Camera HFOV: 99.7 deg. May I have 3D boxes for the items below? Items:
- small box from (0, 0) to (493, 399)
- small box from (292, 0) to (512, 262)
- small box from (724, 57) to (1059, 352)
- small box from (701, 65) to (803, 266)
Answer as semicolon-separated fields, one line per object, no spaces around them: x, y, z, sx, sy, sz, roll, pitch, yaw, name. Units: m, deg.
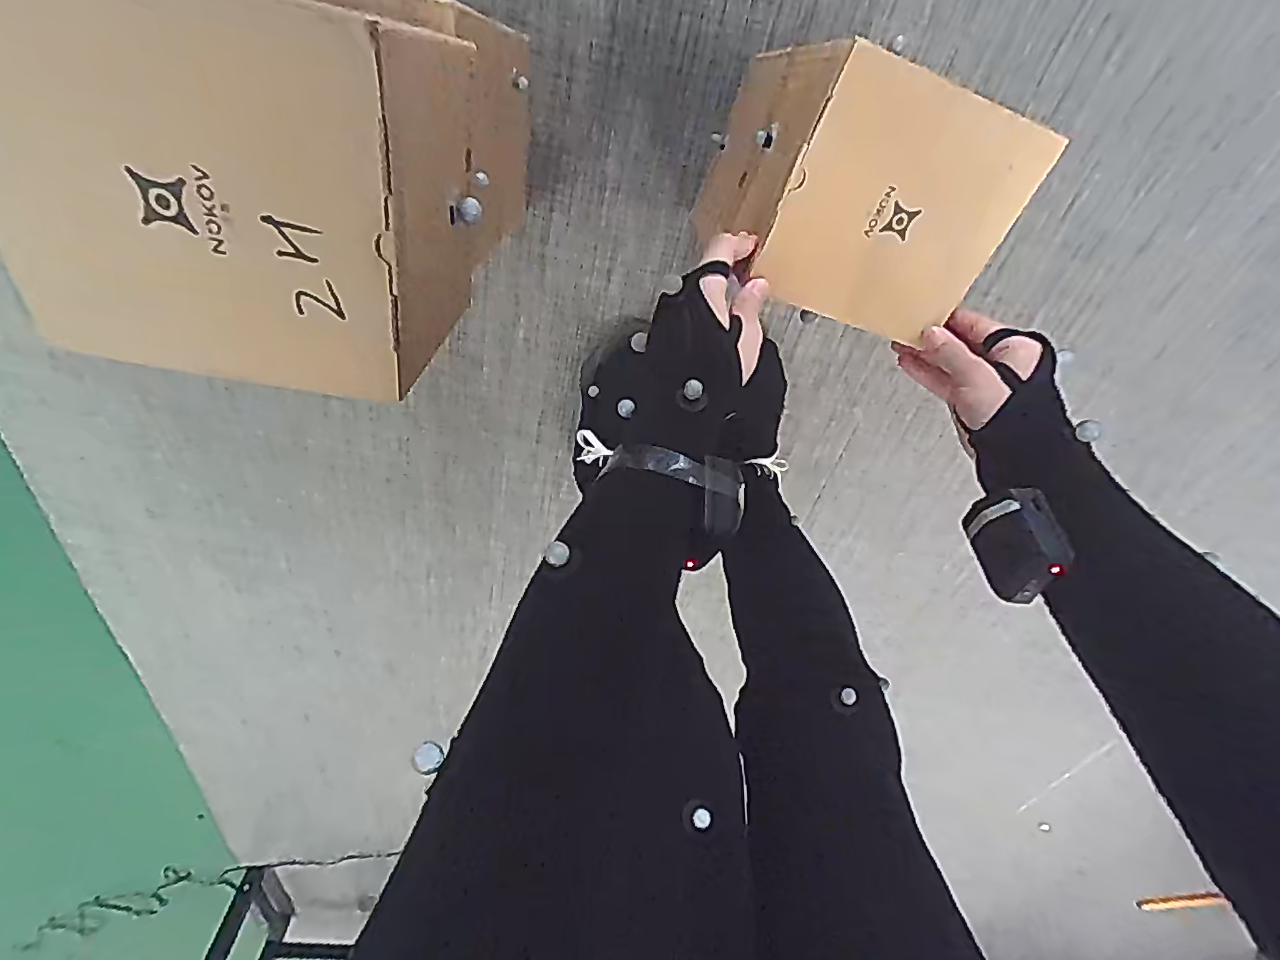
-0.194;-0.169;0.311;0.179;0.176;0.168;9;125;-8;small box
-0.201;-0.274;0.438;0.168;0.176;0.179;8;124;-7;small box
0.192;-0.240;0.475;0.179;0.176;0.168;15;124;-11;small box
0.177;-0.330;0.609;0.168;0.176;0.179;15;124;-13;small box
